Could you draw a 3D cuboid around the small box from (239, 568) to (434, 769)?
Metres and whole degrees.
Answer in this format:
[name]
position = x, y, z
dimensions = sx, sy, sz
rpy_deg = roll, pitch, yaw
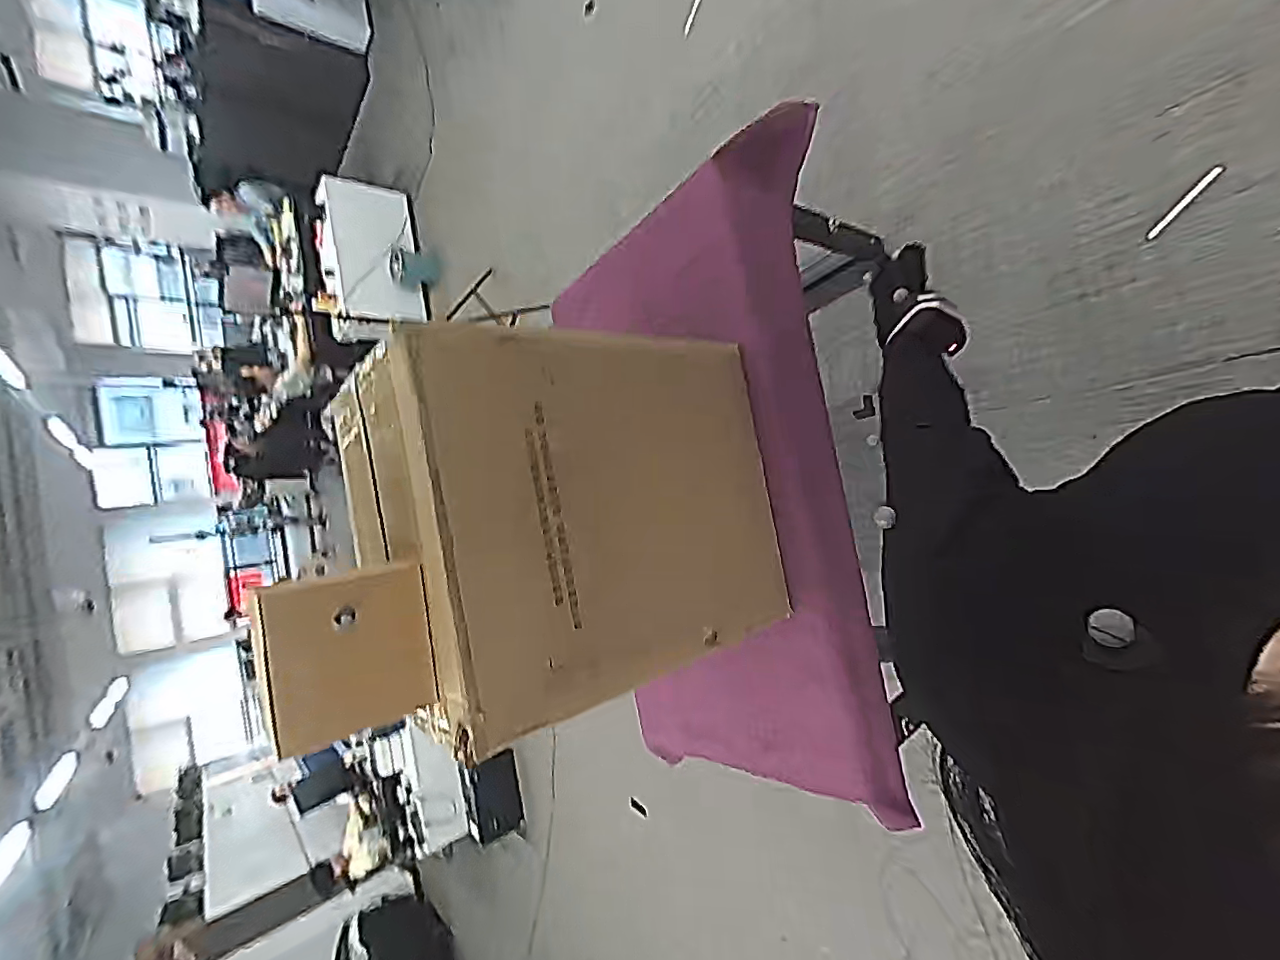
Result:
[small box]
position = -0.369, 0.207, 0.657
dimensions = 0.168, 0.176, 0.179
rpy_deg = -11, 88, 51
